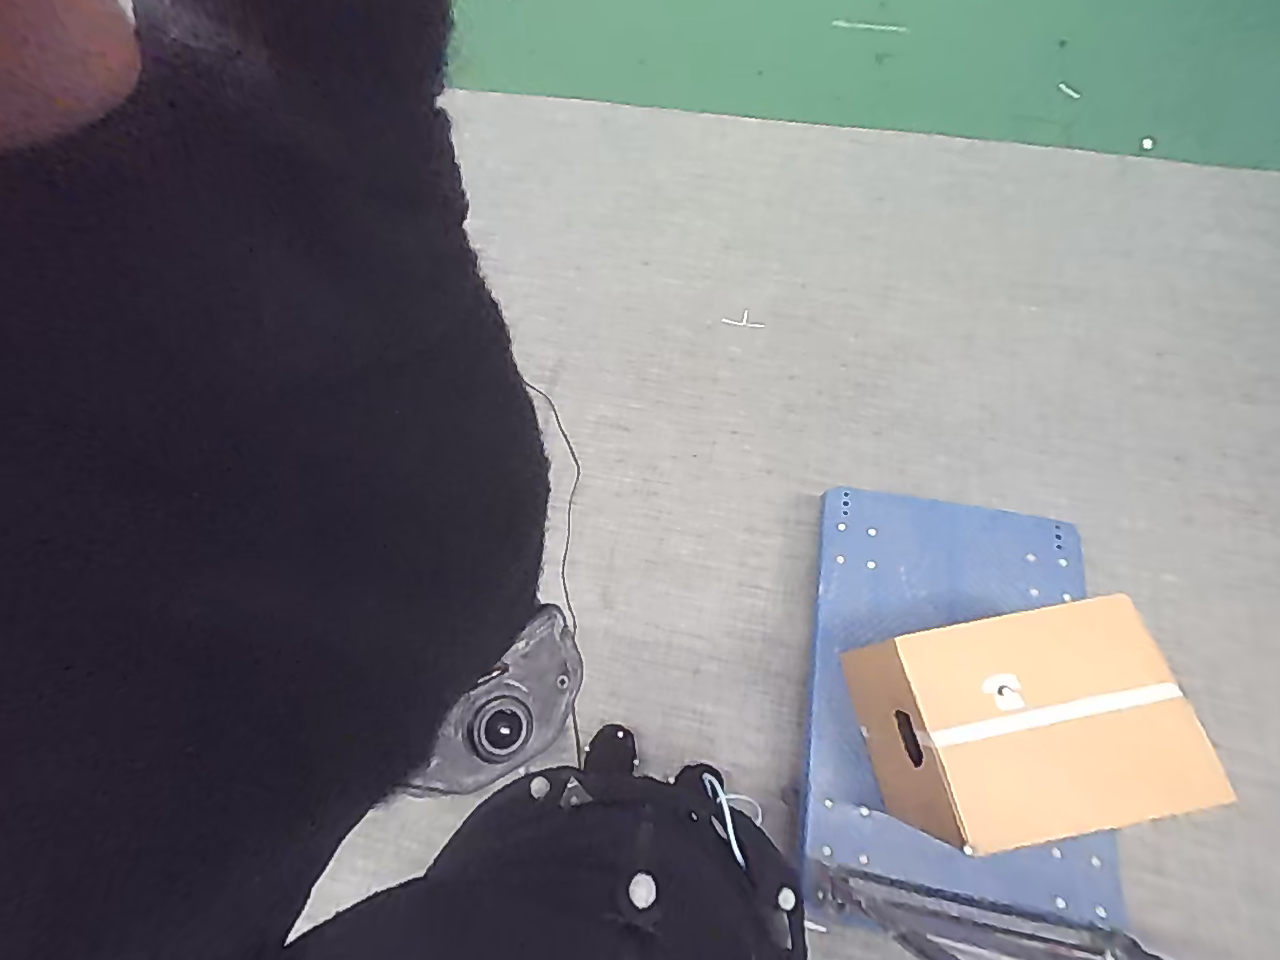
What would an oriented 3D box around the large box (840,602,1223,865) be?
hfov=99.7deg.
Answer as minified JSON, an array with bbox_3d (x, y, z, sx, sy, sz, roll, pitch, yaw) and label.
[{"bbox_3d":[0.640,0.432,0.975,0.408,0.320,0.320,-11,67,-1],"label":"large box"}]
